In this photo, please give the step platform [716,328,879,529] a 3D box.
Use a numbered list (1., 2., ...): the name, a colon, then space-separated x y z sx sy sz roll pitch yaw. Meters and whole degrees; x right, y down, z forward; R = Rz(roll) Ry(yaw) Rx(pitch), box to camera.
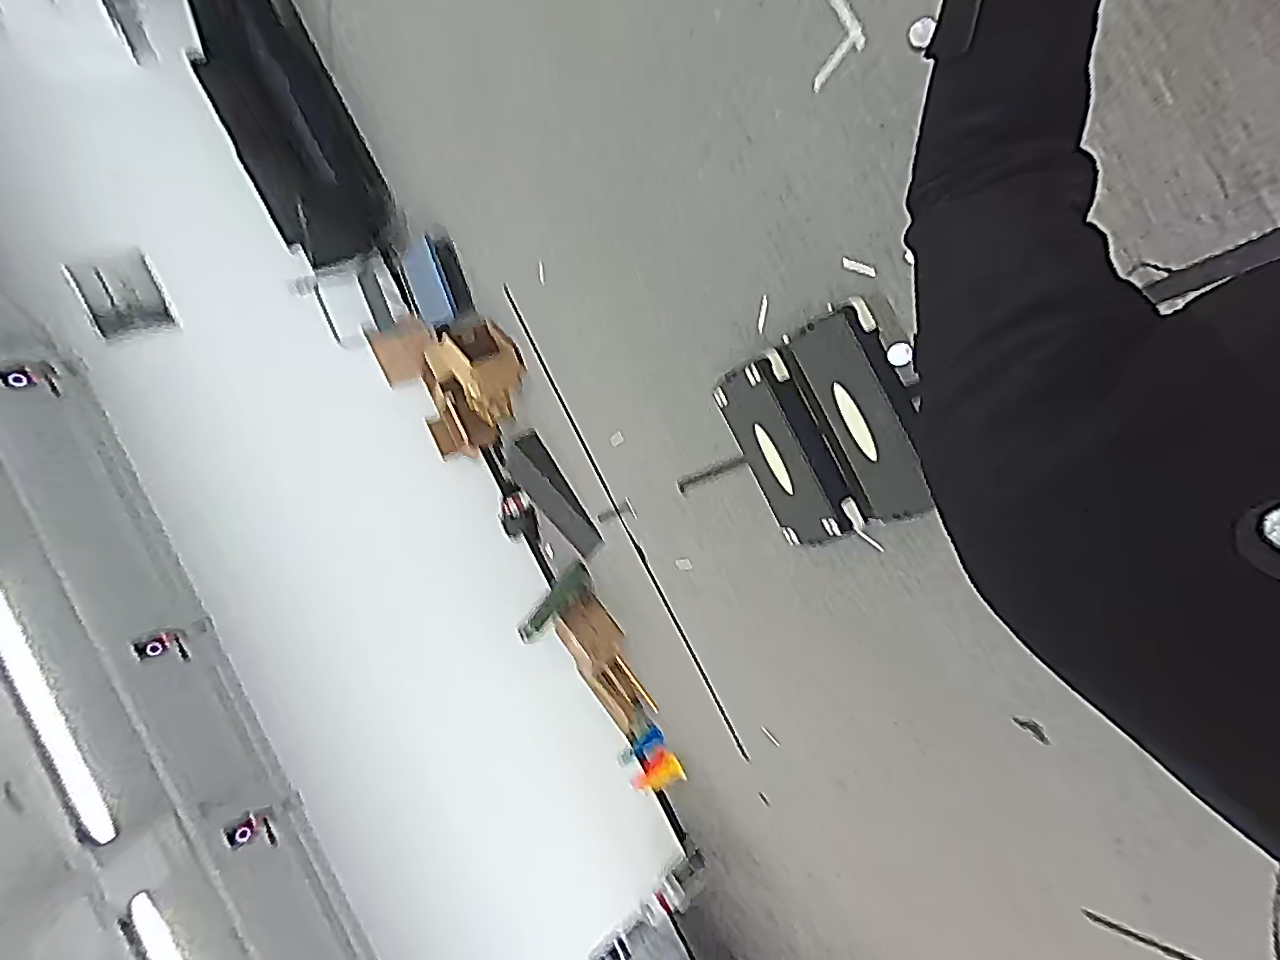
1. step platform: 0.537 -0.165 1.893 0.684 0.204 0.286 64 152 2
